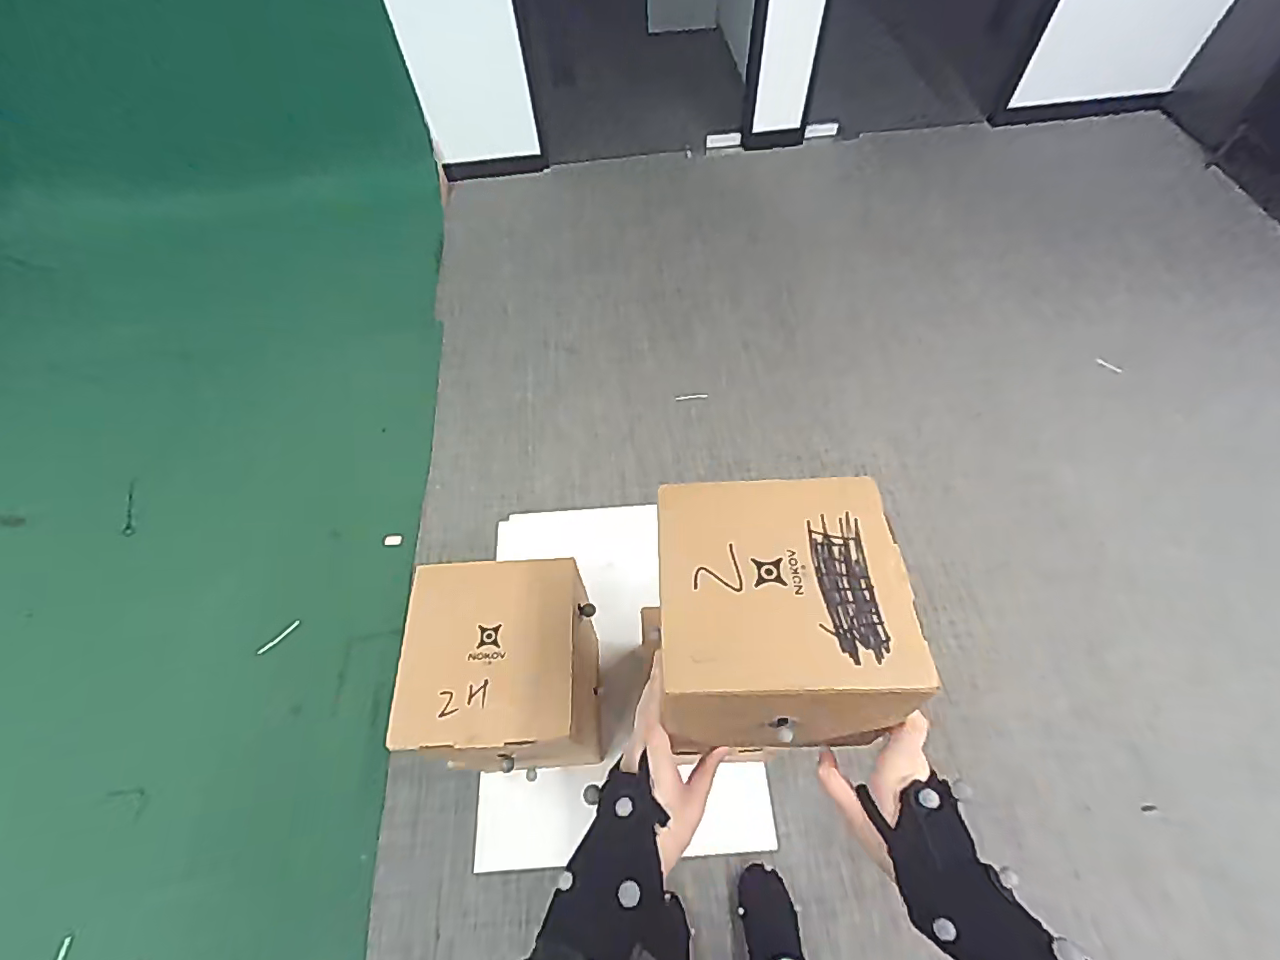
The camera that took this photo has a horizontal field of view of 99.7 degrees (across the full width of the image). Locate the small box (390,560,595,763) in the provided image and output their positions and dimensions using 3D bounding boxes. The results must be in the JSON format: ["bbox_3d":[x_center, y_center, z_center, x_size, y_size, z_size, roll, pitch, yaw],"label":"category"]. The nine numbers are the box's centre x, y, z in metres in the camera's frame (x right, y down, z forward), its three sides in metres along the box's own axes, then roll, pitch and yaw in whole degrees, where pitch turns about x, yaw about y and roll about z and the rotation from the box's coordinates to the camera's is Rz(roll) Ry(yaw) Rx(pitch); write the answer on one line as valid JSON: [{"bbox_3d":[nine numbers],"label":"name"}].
[{"bbox_3d":[-0.141,0.202,0.588,0.168,0.176,0.179,-3,59,1],"label":"small box"}]

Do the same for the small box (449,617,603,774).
[{"bbox_3d":[-0.140,0.290,0.728,0.168,0.176,0.179,-4,60,0],"label":"small box"}]

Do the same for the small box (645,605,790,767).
[{"bbox_3d":[0.091,0.279,0.724,0.168,0.176,0.179,-3,60,2],"label":"small box"}]
